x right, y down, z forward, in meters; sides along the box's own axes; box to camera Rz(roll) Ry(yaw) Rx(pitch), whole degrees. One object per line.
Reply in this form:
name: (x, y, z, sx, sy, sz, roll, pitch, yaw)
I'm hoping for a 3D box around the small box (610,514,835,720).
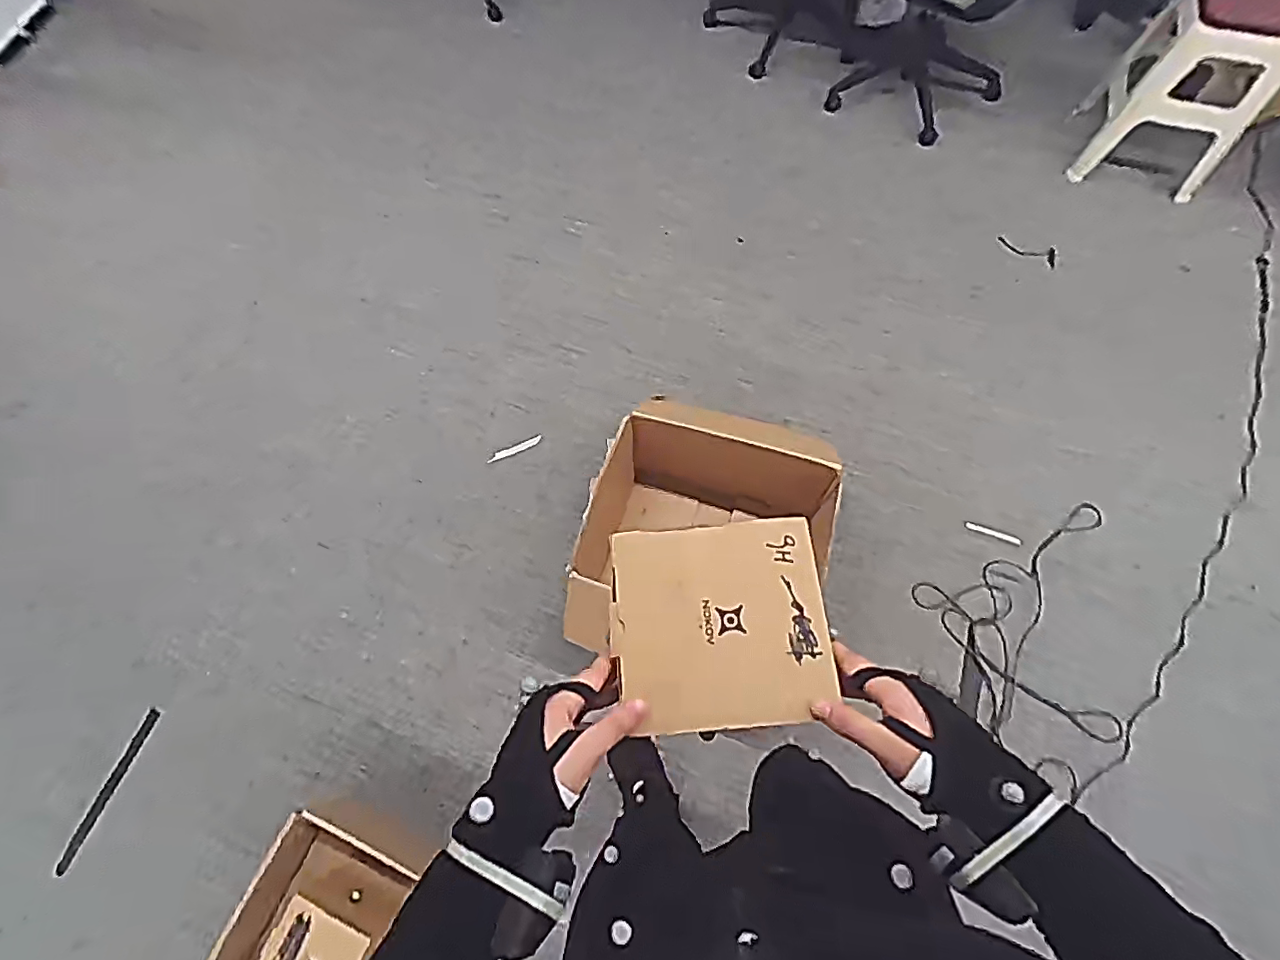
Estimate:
small box: (0.069, 0.142, 0.531, 0.179, 0.176, 0.168, -5, 69, 1)
